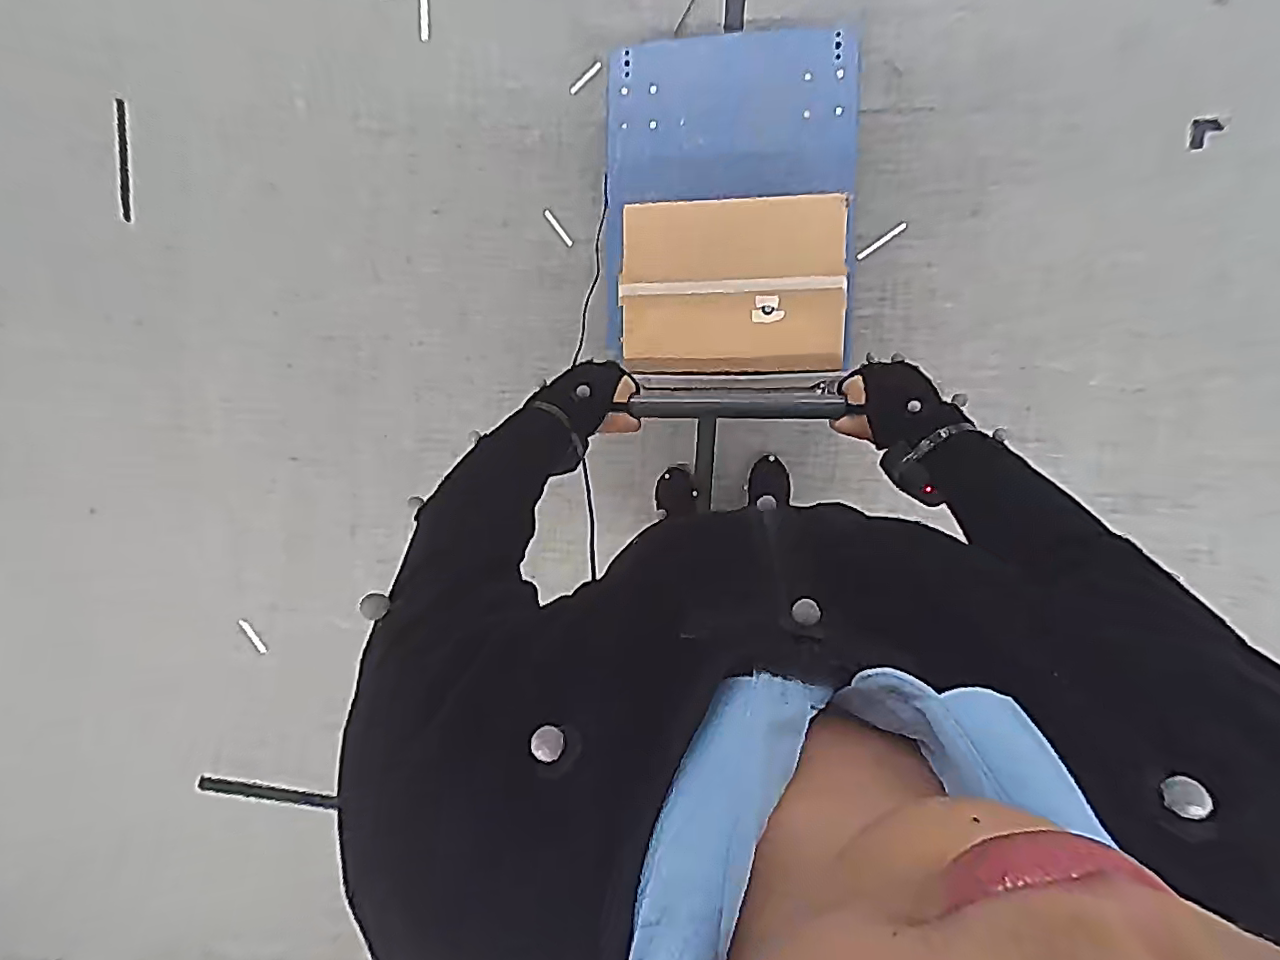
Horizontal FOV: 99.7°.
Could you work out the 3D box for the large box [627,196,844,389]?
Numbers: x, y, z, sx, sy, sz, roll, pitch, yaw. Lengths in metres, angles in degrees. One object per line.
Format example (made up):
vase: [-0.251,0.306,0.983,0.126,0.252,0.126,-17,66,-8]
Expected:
large box: [0.189,-0.371,1.158,0.408,0.320,0.320,0,94,7]
